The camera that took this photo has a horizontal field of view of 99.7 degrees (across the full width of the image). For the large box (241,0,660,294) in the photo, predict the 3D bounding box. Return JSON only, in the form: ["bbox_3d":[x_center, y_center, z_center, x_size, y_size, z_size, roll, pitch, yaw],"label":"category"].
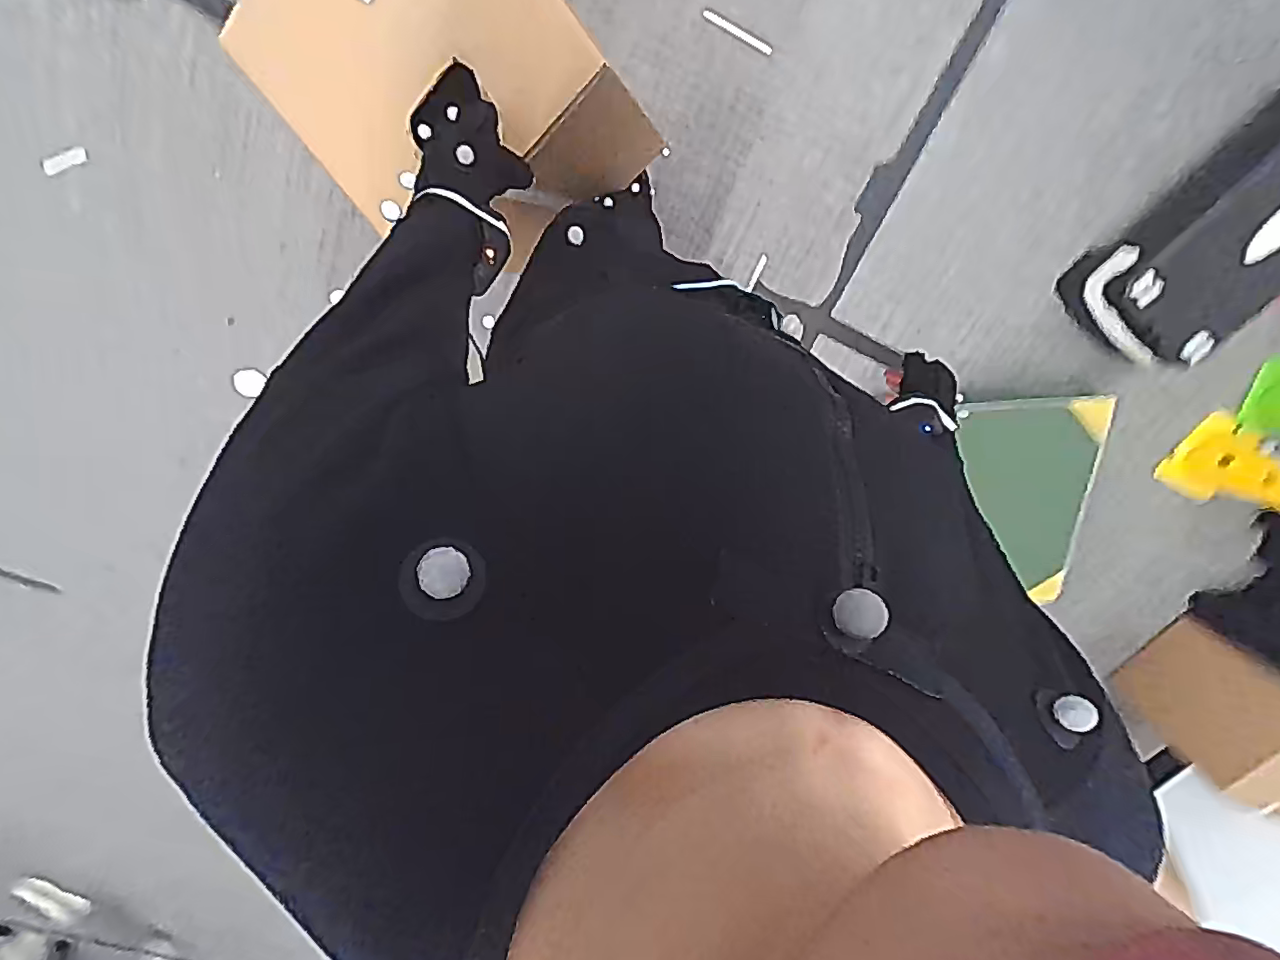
[{"bbox_3d":[-0.213,-0.497,0.748,0.320,0.408,0.320,-36,102,23],"label":"large box"}]
